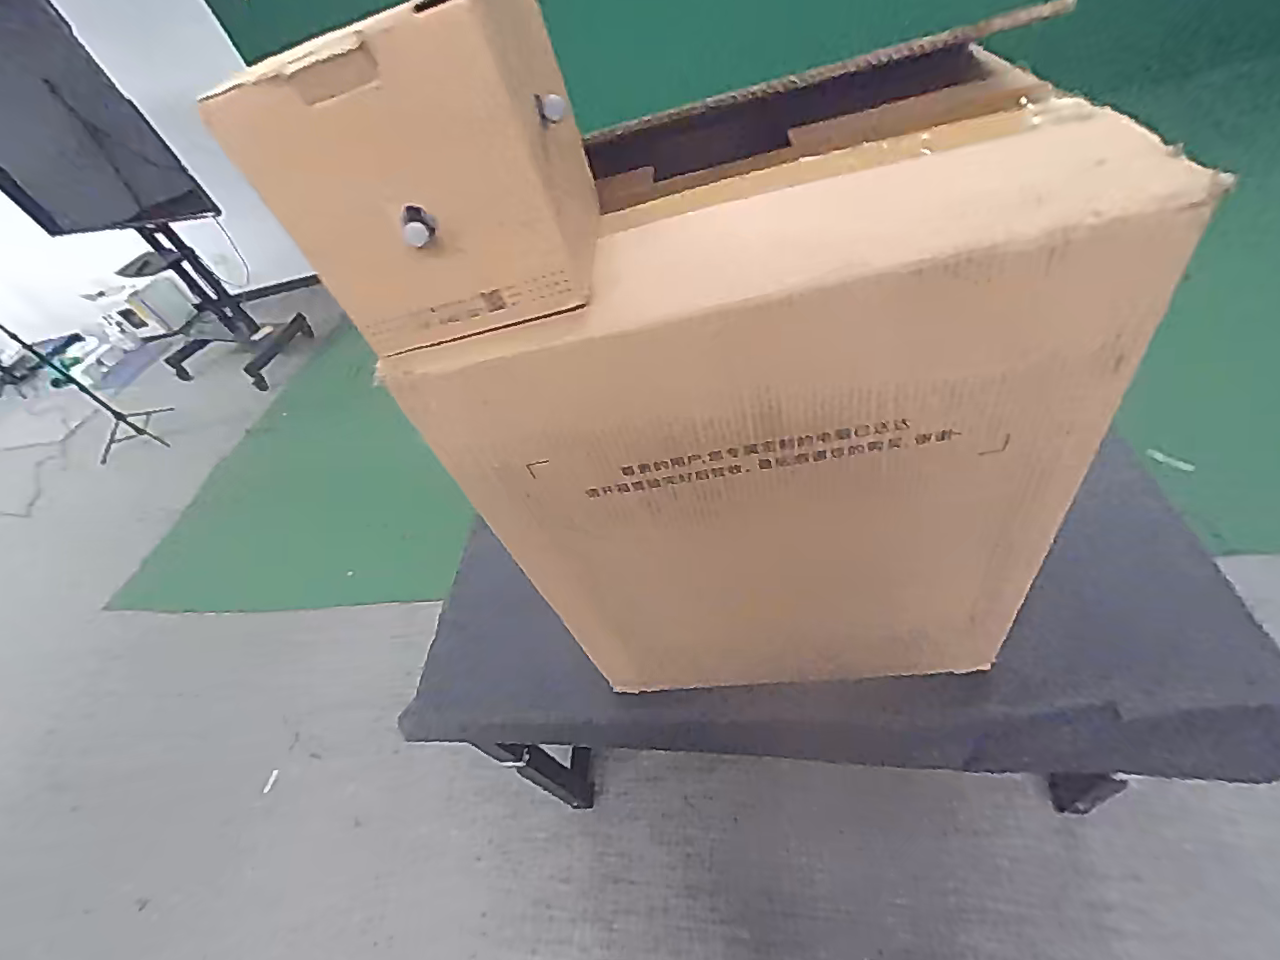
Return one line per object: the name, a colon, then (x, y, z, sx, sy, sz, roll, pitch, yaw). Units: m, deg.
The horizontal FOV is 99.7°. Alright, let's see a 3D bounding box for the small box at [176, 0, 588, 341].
small box: (-0.143, -0.216, 0.377, 0.168, 0.176, 0.179, -11, 48, 12)
